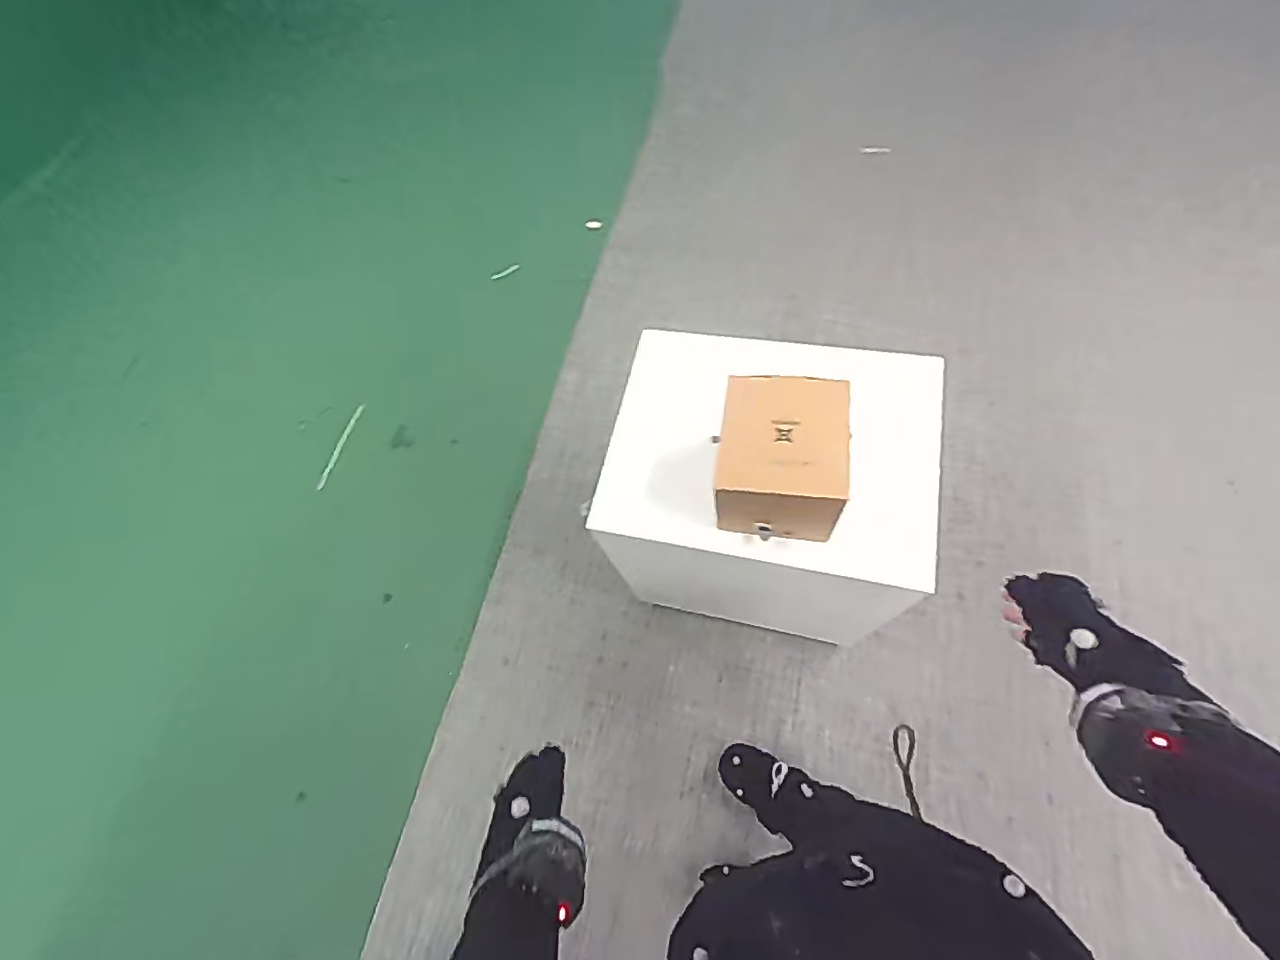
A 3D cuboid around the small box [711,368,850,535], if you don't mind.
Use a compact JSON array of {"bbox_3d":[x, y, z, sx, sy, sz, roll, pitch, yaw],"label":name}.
[{"bbox_3d":[0.194,-0.036,0.759,0.168,0.176,0.179,4,68,13],"label":"small box"}]
